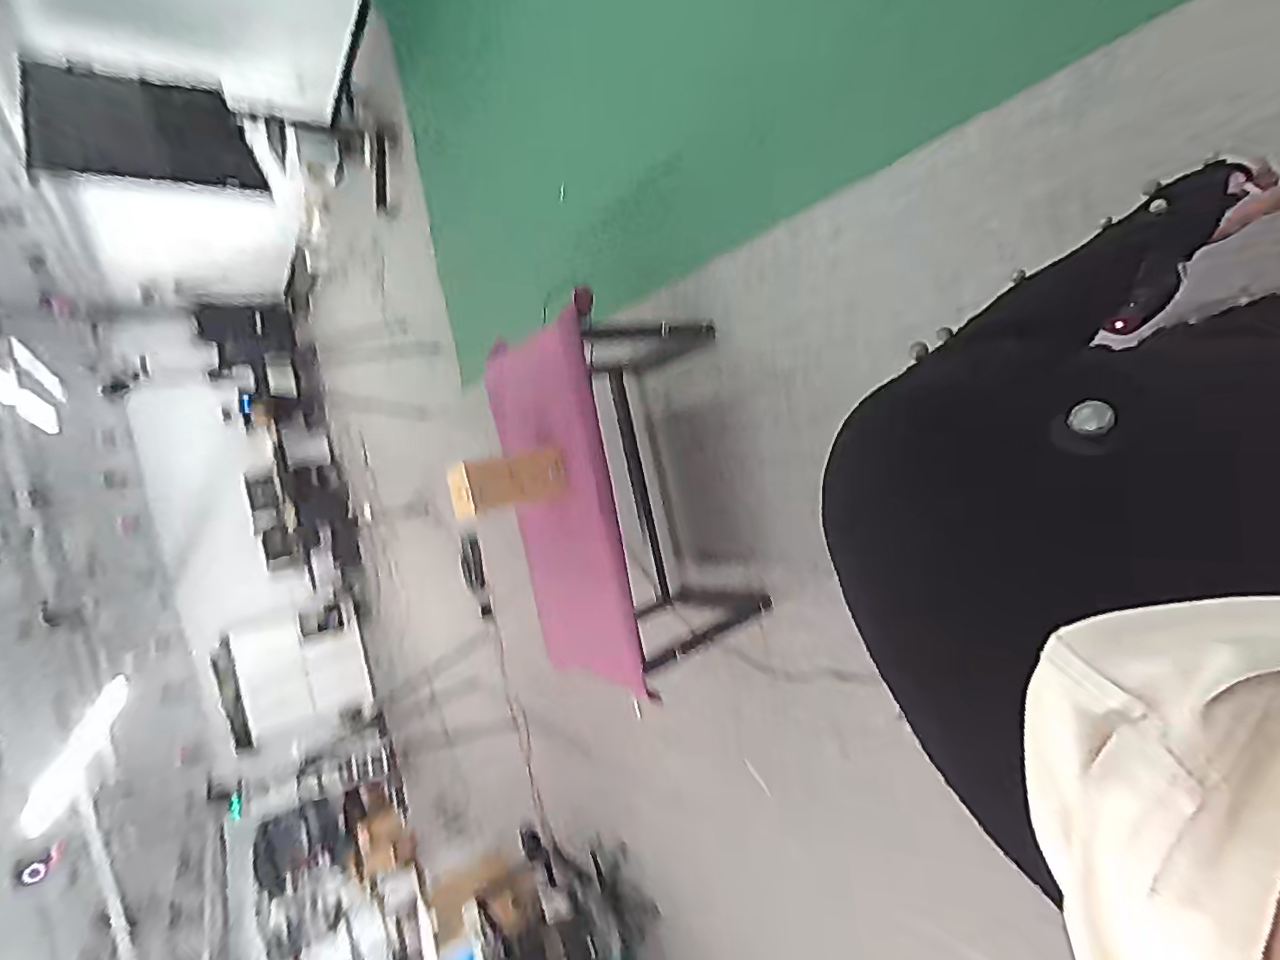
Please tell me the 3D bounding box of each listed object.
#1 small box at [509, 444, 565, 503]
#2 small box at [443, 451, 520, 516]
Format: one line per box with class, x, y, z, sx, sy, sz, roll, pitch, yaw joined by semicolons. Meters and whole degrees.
small box;-0.379;-0.019;1.826;0.179;0.176;0.168;-13;92;52
small box;-0.505;0.013;1.725;0.179;0.176;0.168;-14;91;53
